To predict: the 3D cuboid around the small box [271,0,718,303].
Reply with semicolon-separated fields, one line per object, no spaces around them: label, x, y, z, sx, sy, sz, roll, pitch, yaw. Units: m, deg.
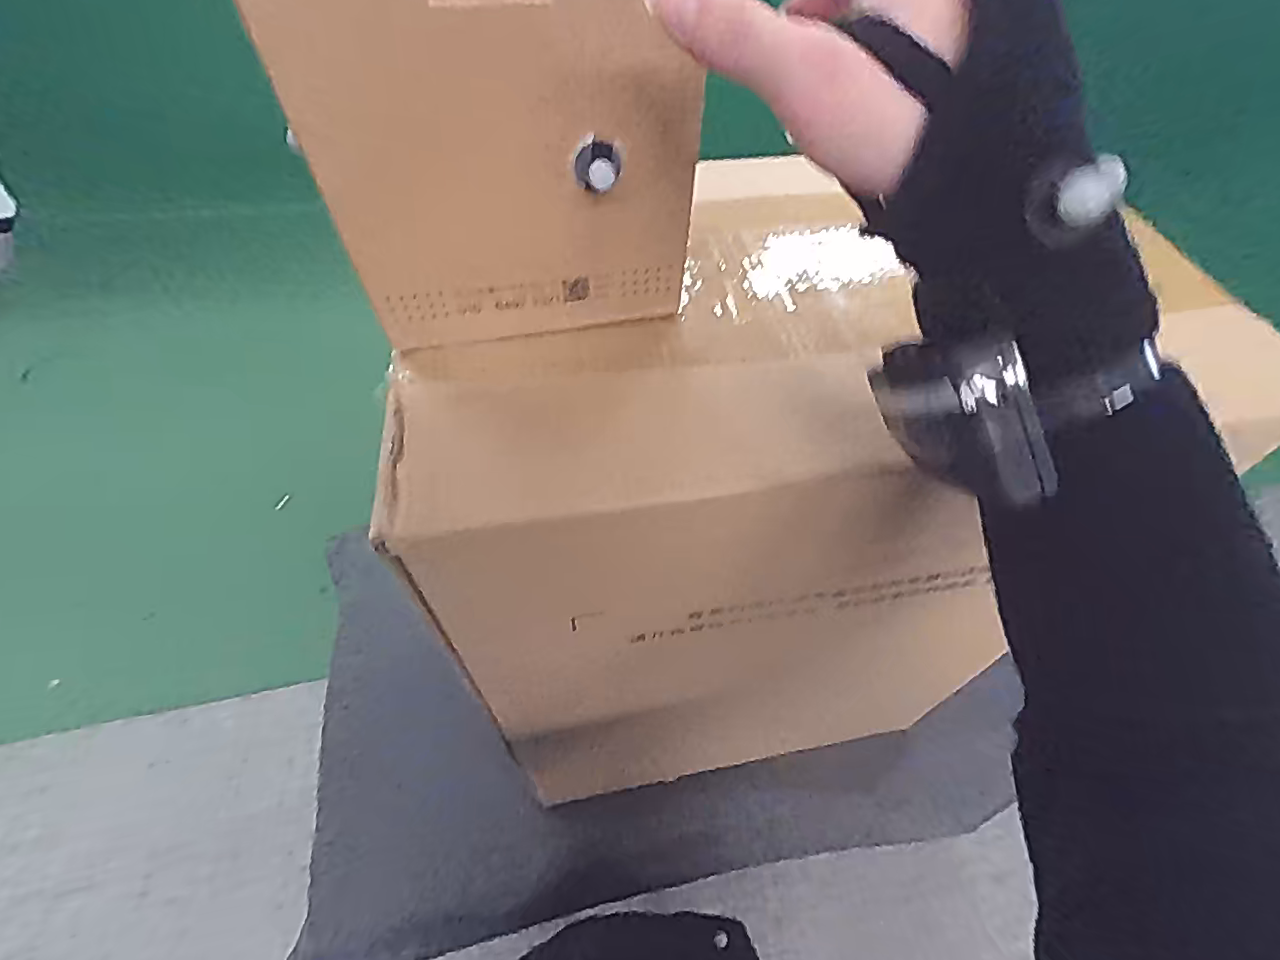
small box;-0.065;-0.208;0.281;0.168;0.176;0.179;-9;54;-11
